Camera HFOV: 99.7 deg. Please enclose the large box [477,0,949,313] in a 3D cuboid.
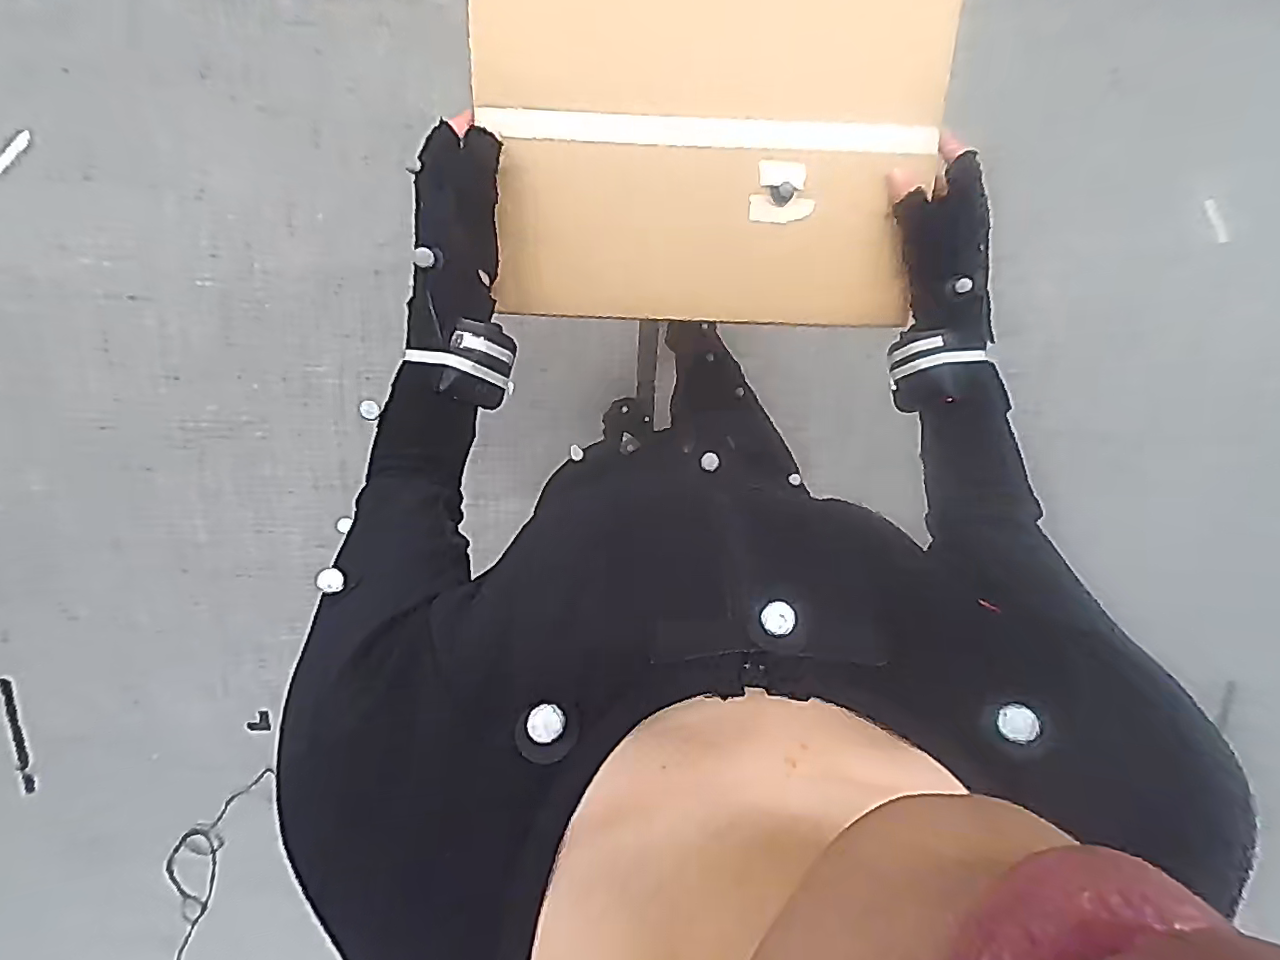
[{"bbox_3d":[0.055,-0.357,0.620,0.408,0.320,0.320,1,107,-3],"label":"large box"}]
